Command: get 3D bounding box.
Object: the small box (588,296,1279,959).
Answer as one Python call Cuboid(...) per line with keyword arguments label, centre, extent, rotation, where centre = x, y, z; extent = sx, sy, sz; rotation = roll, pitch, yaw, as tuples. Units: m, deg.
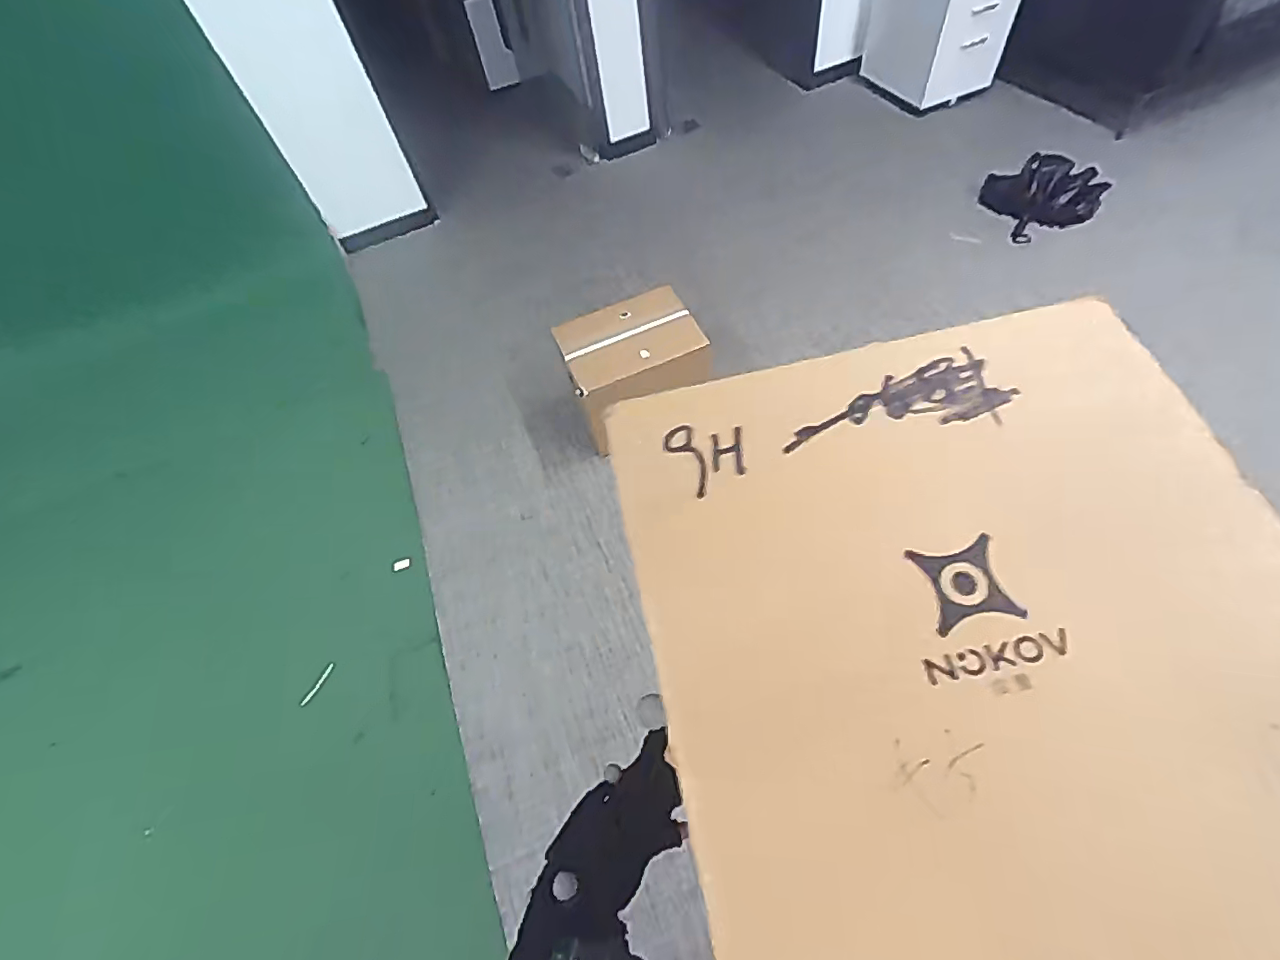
Cuboid(label="small box", centre=(0.087, 0.065, 0.218), extent=(0.168, 0.176, 0.179), rotation=(-14, 67, 0))
